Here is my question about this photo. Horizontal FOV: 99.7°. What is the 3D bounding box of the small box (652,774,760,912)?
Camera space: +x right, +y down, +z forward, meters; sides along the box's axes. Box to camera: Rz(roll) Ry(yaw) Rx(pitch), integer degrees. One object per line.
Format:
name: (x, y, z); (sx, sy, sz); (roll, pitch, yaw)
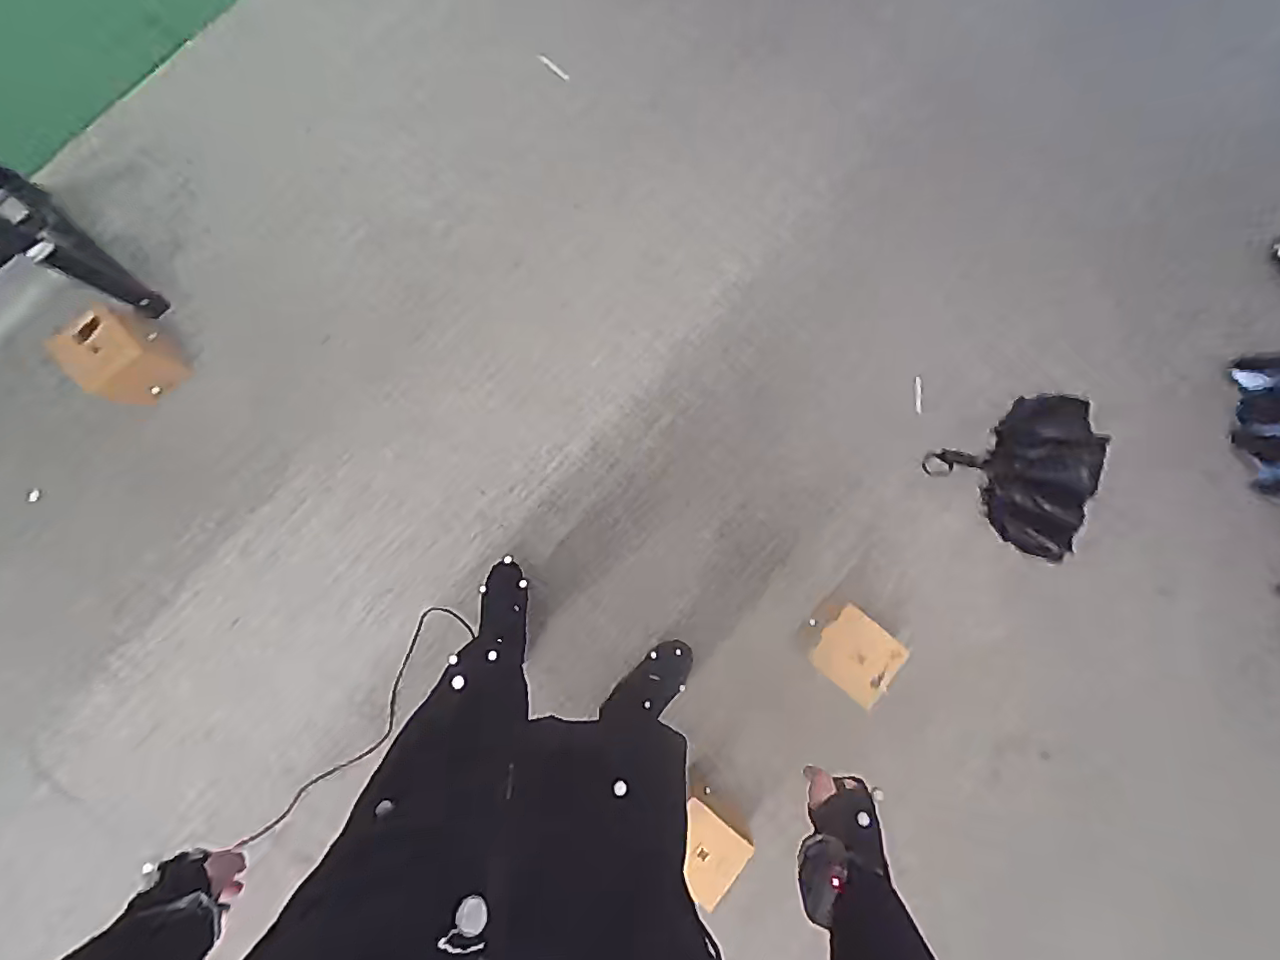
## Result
small box: (0.143, 0.811, 1.235); (0.179, 0.176, 0.168); (38, 86, 6)

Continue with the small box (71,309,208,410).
small box: (-1.328, -0.313, 1.446); (0.168, 0.176, 0.179); (-41, 84, -4)

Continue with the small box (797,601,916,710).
small box: (0.498, 0.403, 1.278); (0.179, 0.176, 0.168); (40, 86, 8)
